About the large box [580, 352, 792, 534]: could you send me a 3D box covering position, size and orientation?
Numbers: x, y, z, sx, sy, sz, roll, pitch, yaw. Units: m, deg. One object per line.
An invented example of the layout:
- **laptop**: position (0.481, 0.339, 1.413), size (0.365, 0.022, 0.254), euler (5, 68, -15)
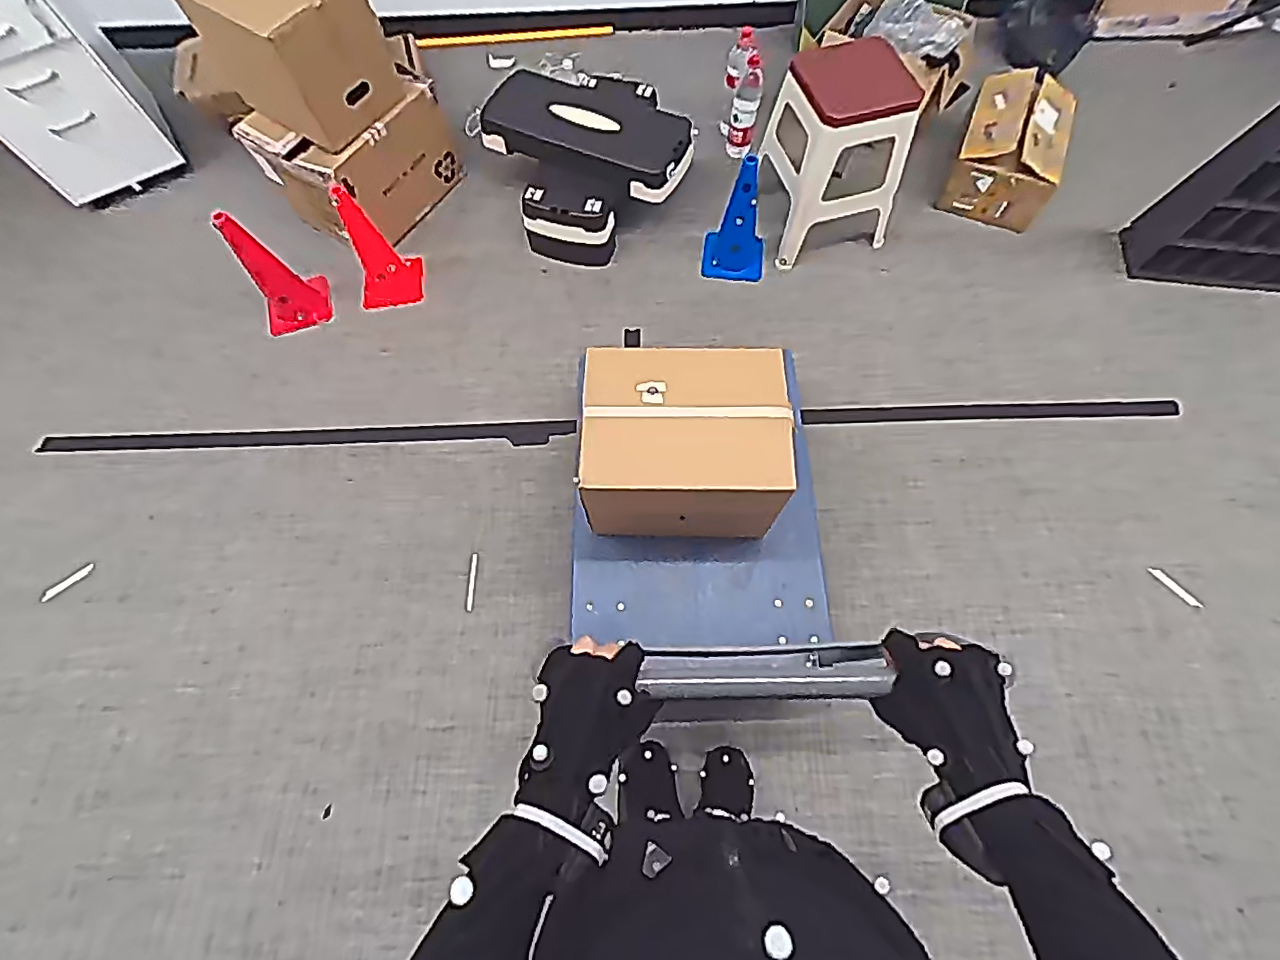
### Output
- **large box**: position (0.091, -0.066, 1.198), size (0.408, 0.320, 0.320), euler (0, 68, 2)
